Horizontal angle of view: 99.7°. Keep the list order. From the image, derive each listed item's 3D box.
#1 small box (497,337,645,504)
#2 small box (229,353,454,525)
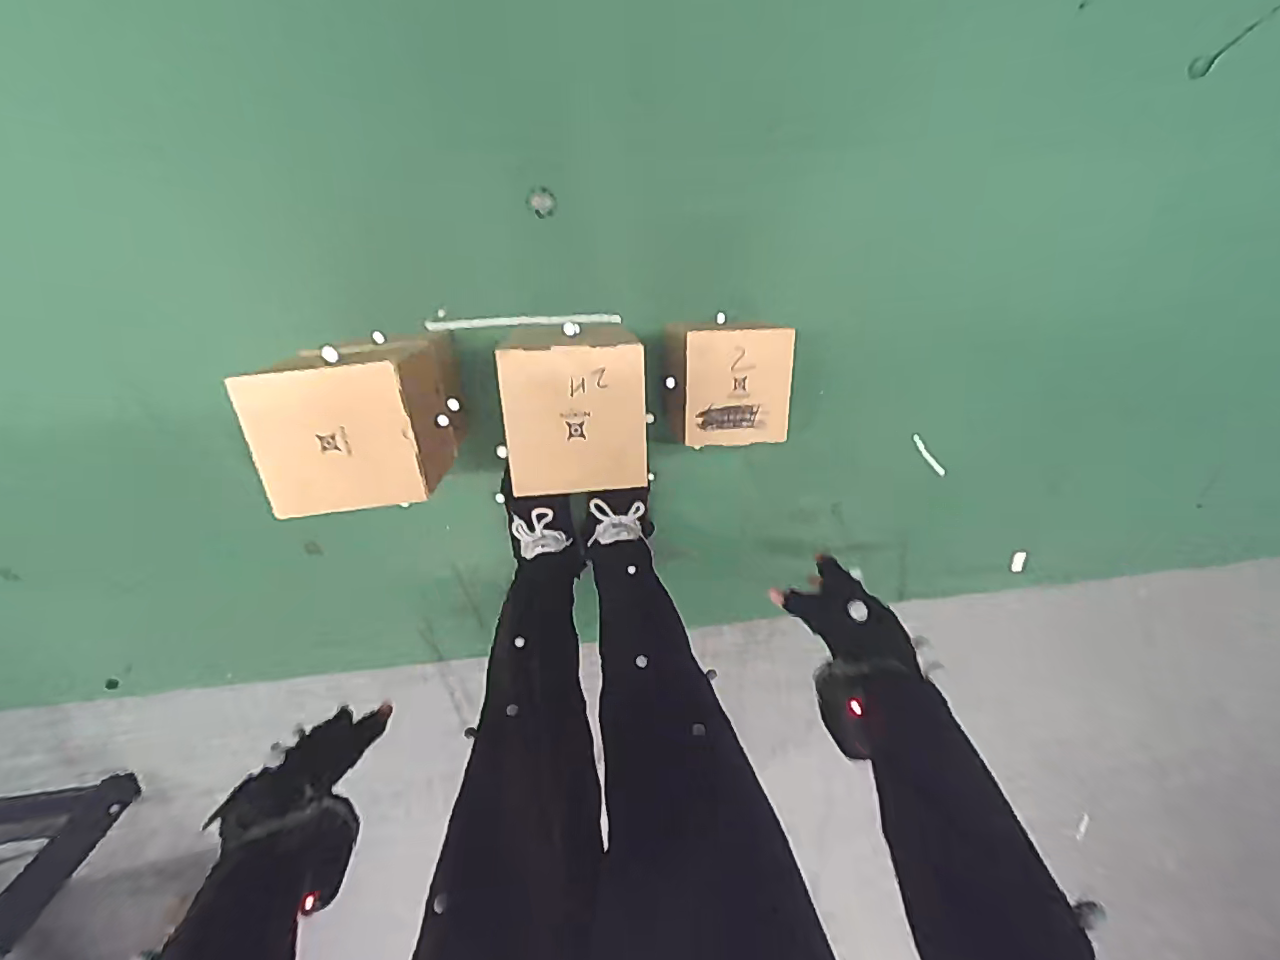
[{"bbox_3d":[-0.085,-0.085,0.700,0.168,0.176,0.179,-4,111,-7],"label":"small box"},{"bbox_3d":[-0.350,-0.061,0.675,0.179,0.176,0.168,-8,111,-5],"label":"small box"}]
